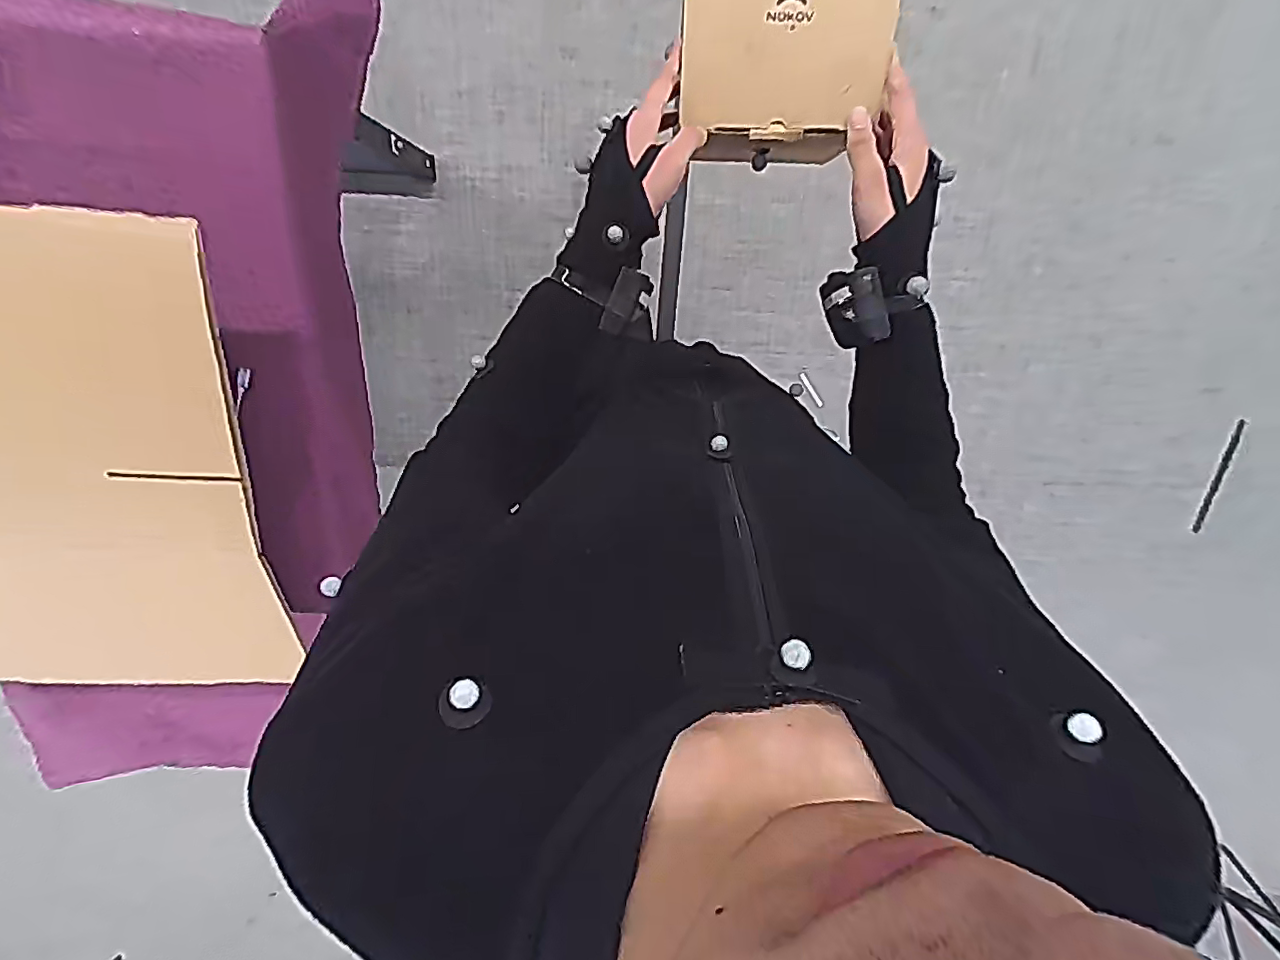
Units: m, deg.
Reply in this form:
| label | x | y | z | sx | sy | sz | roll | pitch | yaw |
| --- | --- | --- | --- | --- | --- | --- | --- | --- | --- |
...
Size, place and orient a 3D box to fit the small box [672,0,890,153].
| label | x | y | z | sx | sy | sz | roll | pitch | yaw |
| --- | --- | --- | --- | --- | --- | --- | --- | --- | --- |
| small box | 0.118 | -0.409 | 0.493 | 0.168 | 0.176 | 0.179 | 3 | 114 | 3 |
